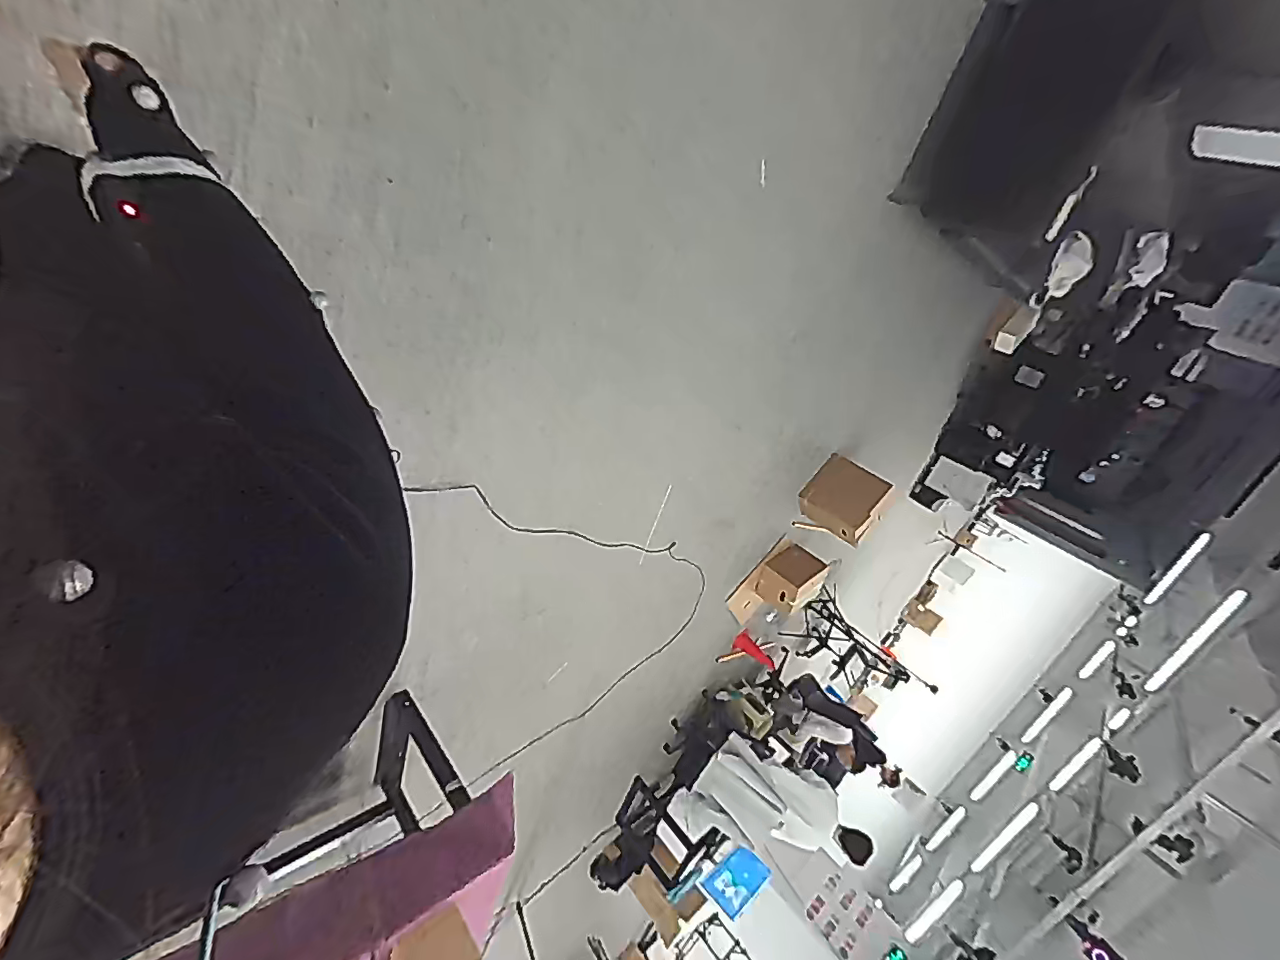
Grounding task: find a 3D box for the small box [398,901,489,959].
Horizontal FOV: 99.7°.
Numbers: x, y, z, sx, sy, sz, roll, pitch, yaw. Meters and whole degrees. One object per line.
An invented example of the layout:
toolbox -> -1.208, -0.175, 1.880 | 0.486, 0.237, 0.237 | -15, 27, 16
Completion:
small box -> -0.547, 1.322, 1.482 | 0.179, 0.176, 0.168 | -6, 126, -46
